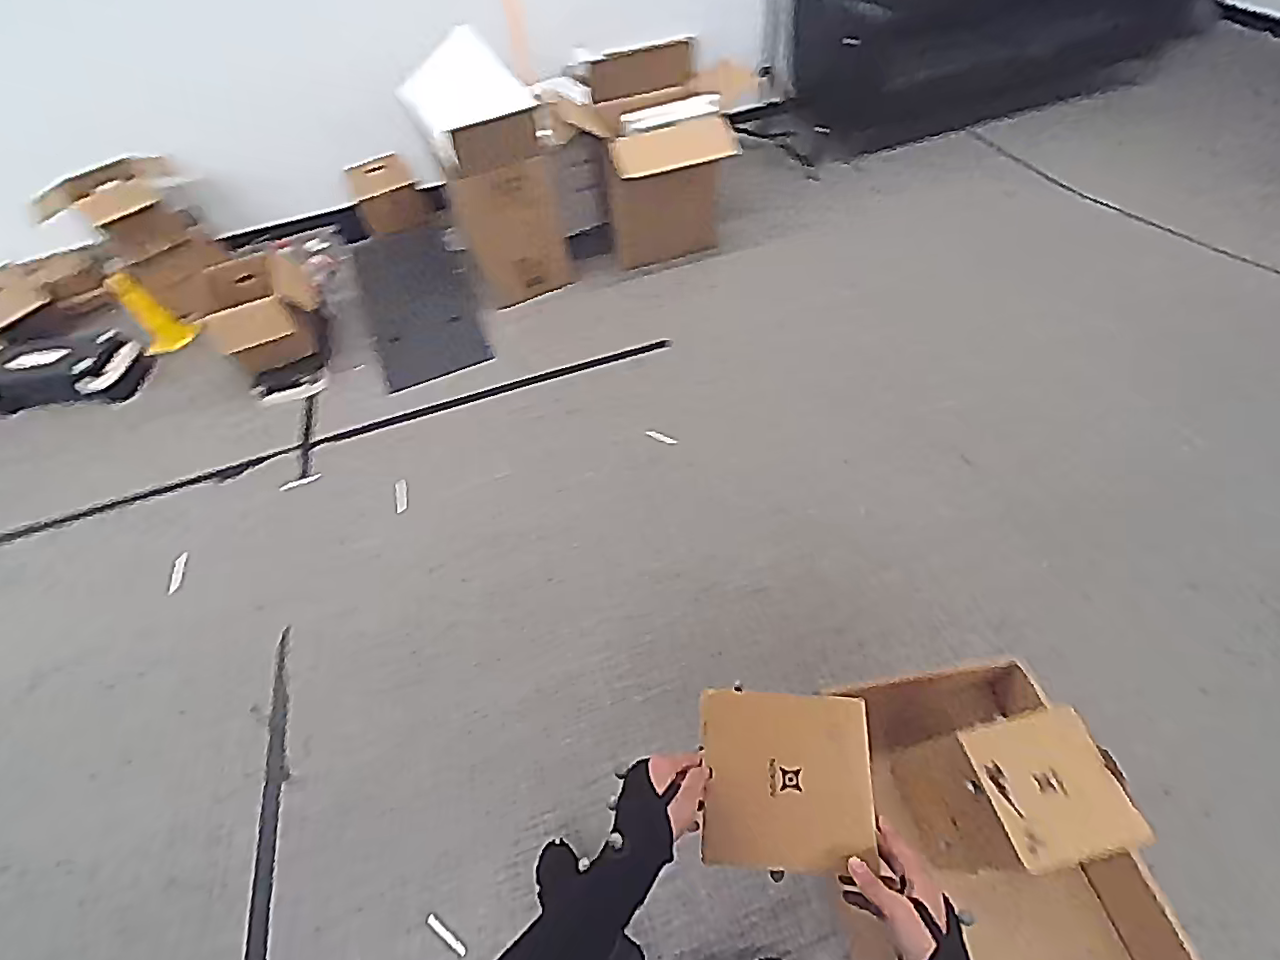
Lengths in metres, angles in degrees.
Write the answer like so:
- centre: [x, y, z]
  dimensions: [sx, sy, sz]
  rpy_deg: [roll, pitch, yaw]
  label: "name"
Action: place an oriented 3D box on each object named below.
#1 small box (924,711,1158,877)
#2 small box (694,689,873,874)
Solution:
- centre: [0.551, 0.449, 0.776]
  dimensions: [0.179, 0.176, 0.168]
  rpy_deg: [-11, 55, -3]
  label: "small box"
- centre: [0.153, 0.339, 0.639]
  dimensions: [0.179, 0.176, 0.168]
  rpy_deg: [-1, 68, 6]
  label: "small box"
